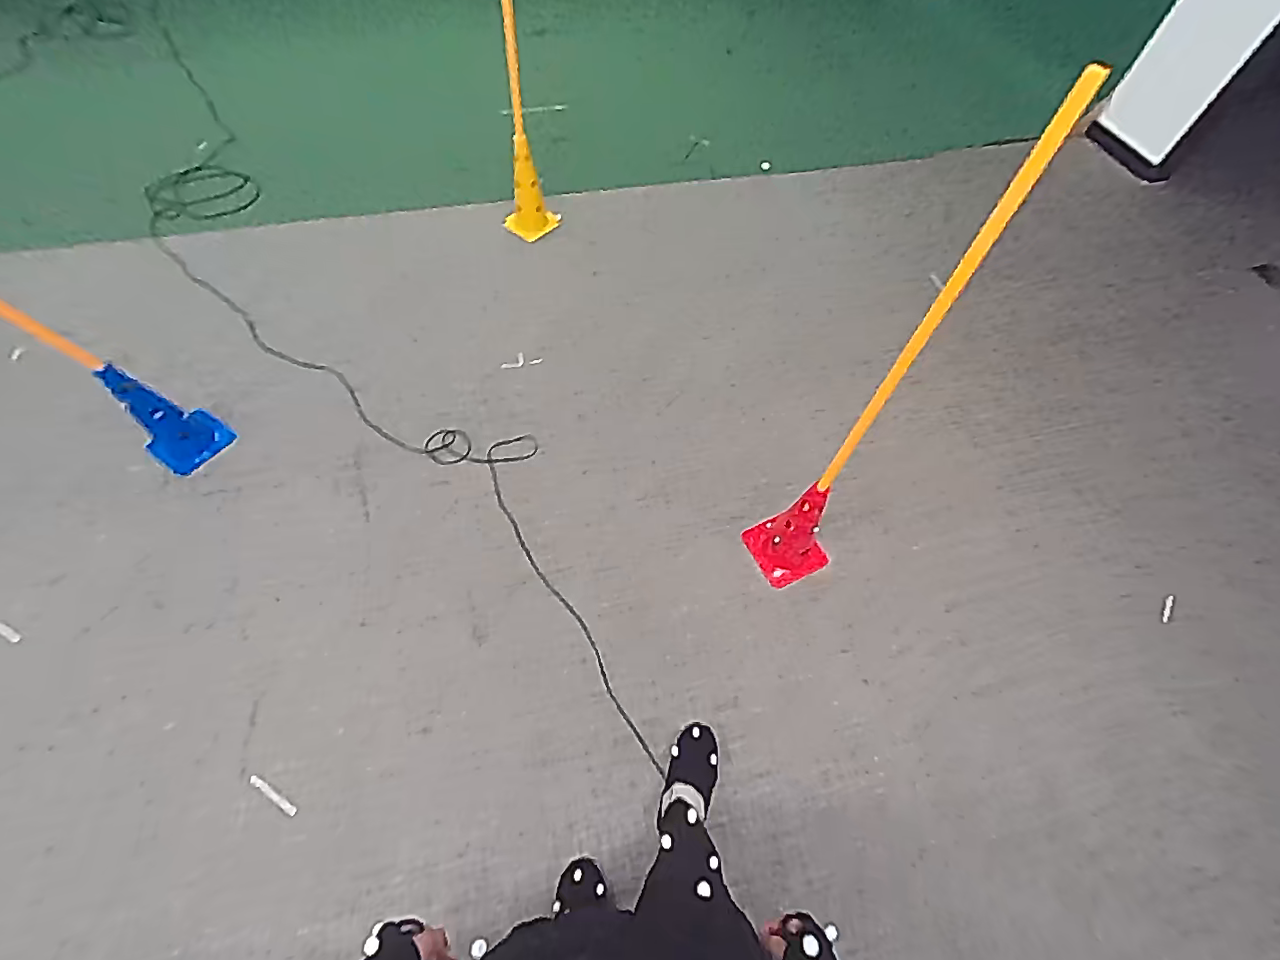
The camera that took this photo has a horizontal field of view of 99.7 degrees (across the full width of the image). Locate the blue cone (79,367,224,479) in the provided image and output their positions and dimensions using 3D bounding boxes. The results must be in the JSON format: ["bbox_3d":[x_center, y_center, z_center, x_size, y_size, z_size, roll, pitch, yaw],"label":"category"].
[{"bbox_3d":[-1.427,-0.183,1.553,0.192,0.380,0.193,30,64,14],"label":"blue cone"}]
